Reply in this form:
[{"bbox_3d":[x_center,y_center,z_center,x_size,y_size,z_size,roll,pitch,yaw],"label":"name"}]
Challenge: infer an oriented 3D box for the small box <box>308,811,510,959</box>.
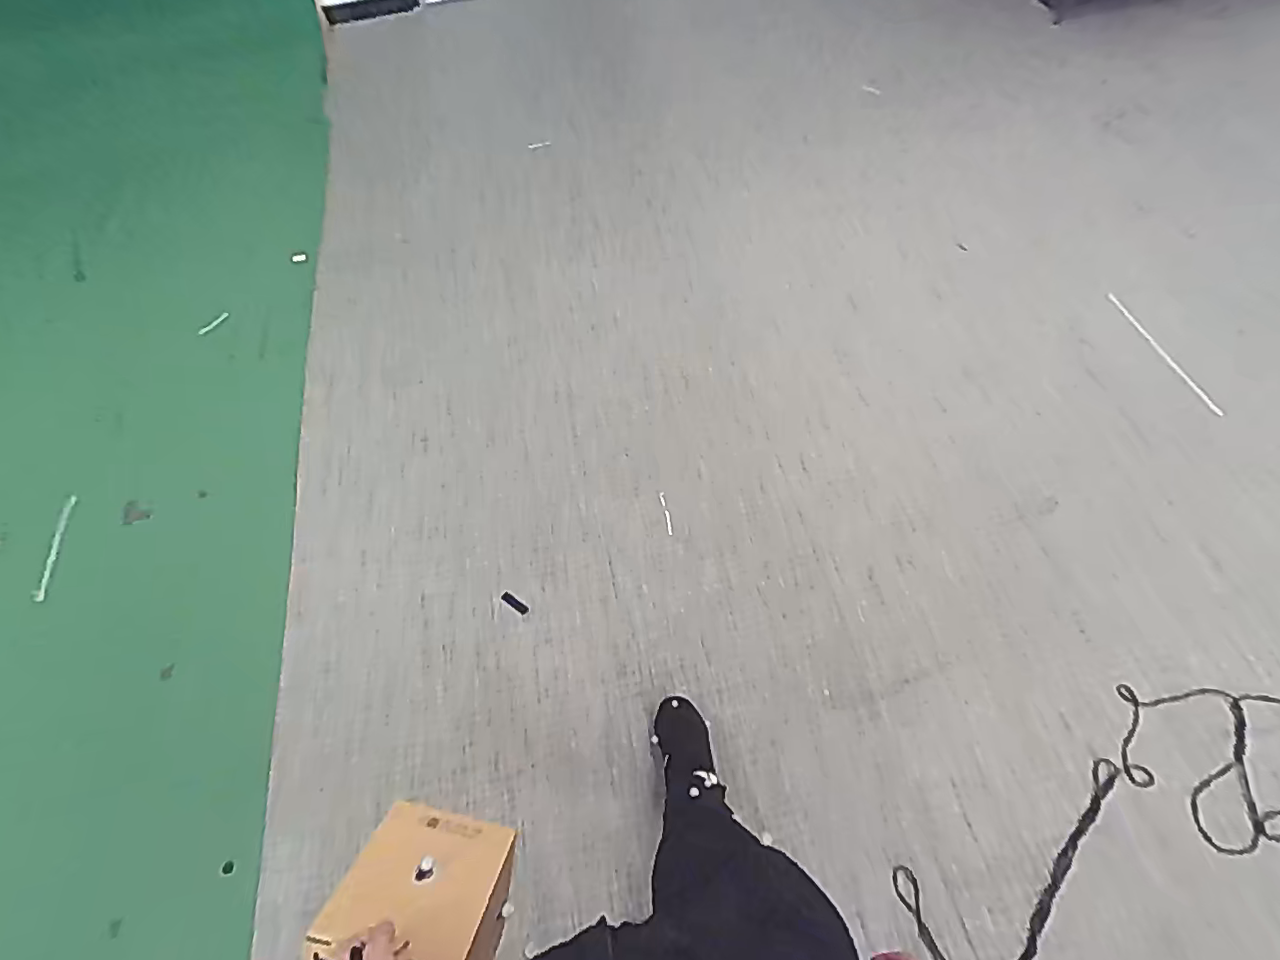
[{"bbox_3d":[-0.261,0.535,0.638,0.168,0.176,0.179,10,103,2],"label":"small box"}]
